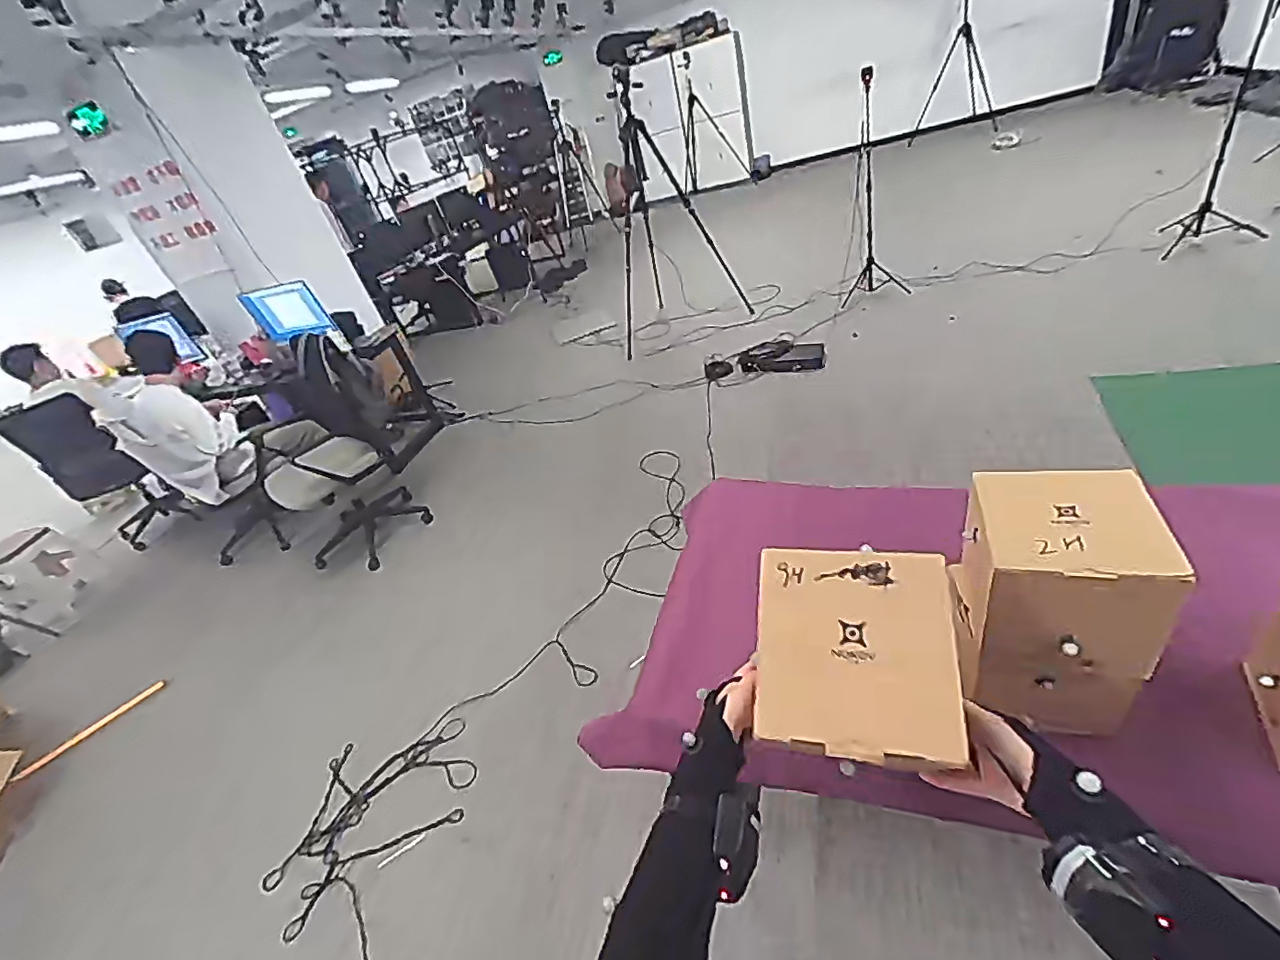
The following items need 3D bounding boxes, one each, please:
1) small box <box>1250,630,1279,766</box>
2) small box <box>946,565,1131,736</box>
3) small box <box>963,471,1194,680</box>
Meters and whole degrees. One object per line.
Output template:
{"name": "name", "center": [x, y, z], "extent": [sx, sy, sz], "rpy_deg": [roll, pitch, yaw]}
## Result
{"name": "small box", "center": [0.837, 0.244, 0.589], "extent": [0.179, 0.176, 0.168], "rpy_deg": [4, 39, 32]}
{"name": "small box", "center": [0.536, 0.231, 0.746], "extent": [0.179, 0.176, 0.168], "rpy_deg": [-5, 37, 18]}
{"name": "small box", "center": [0.495, 0.106, 0.646], "extent": [0.168, 0.176, 0.179], "rpy_deg": [-1, 38, 24]}
